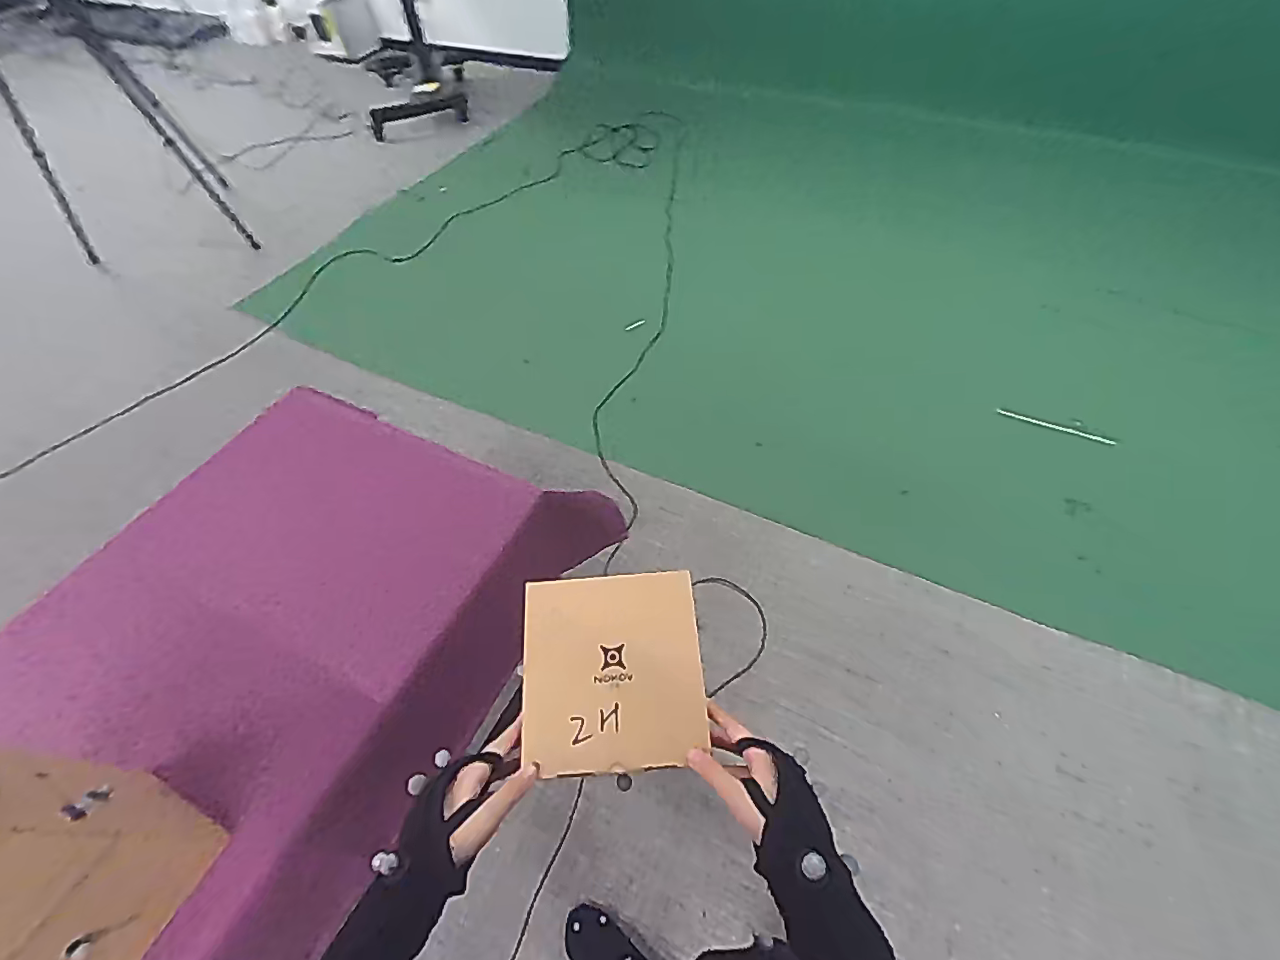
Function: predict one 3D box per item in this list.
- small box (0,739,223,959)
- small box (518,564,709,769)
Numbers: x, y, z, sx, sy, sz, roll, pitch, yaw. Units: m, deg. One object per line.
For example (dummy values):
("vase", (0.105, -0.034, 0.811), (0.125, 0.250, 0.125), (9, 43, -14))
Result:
("small box", (-0.602, 0.407, 0.562), (0.168, 0.176, 0.179), (20, 58, 17))
("small box", (-0.023, 0.201, 0.567), (0.168, 0.176, 0.179), (-4, 62, 1))
